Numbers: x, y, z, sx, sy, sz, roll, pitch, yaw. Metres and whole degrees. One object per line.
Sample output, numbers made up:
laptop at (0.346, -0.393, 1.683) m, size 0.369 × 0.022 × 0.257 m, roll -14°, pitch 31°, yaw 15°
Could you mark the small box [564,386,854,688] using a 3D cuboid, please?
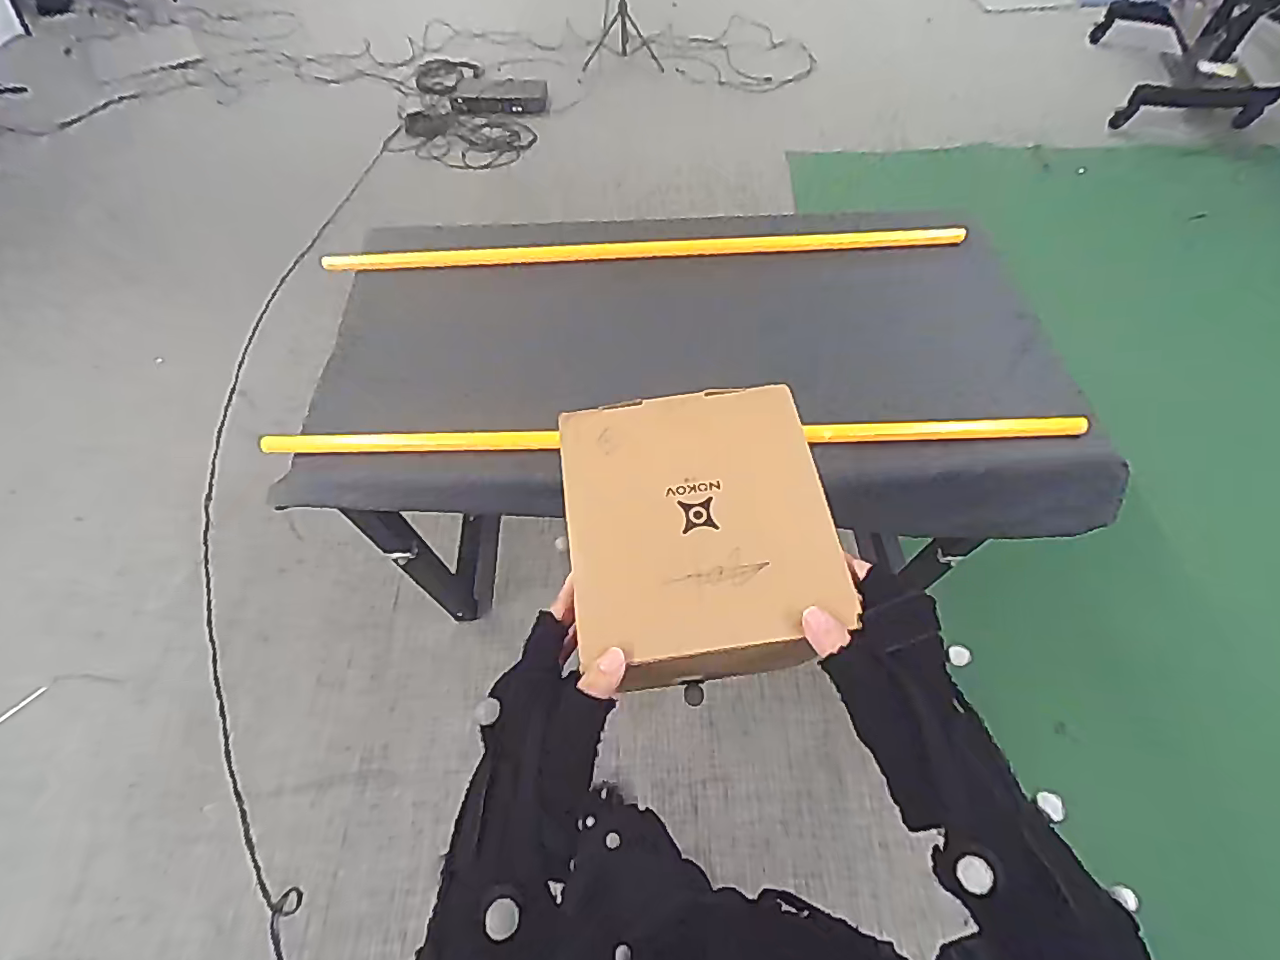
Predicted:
small box at (0.036, 0.053, 0.421) m, size 0.168 × 0.176 × 0.179 m, roll -8°, pitch 64°, yaw -2°
